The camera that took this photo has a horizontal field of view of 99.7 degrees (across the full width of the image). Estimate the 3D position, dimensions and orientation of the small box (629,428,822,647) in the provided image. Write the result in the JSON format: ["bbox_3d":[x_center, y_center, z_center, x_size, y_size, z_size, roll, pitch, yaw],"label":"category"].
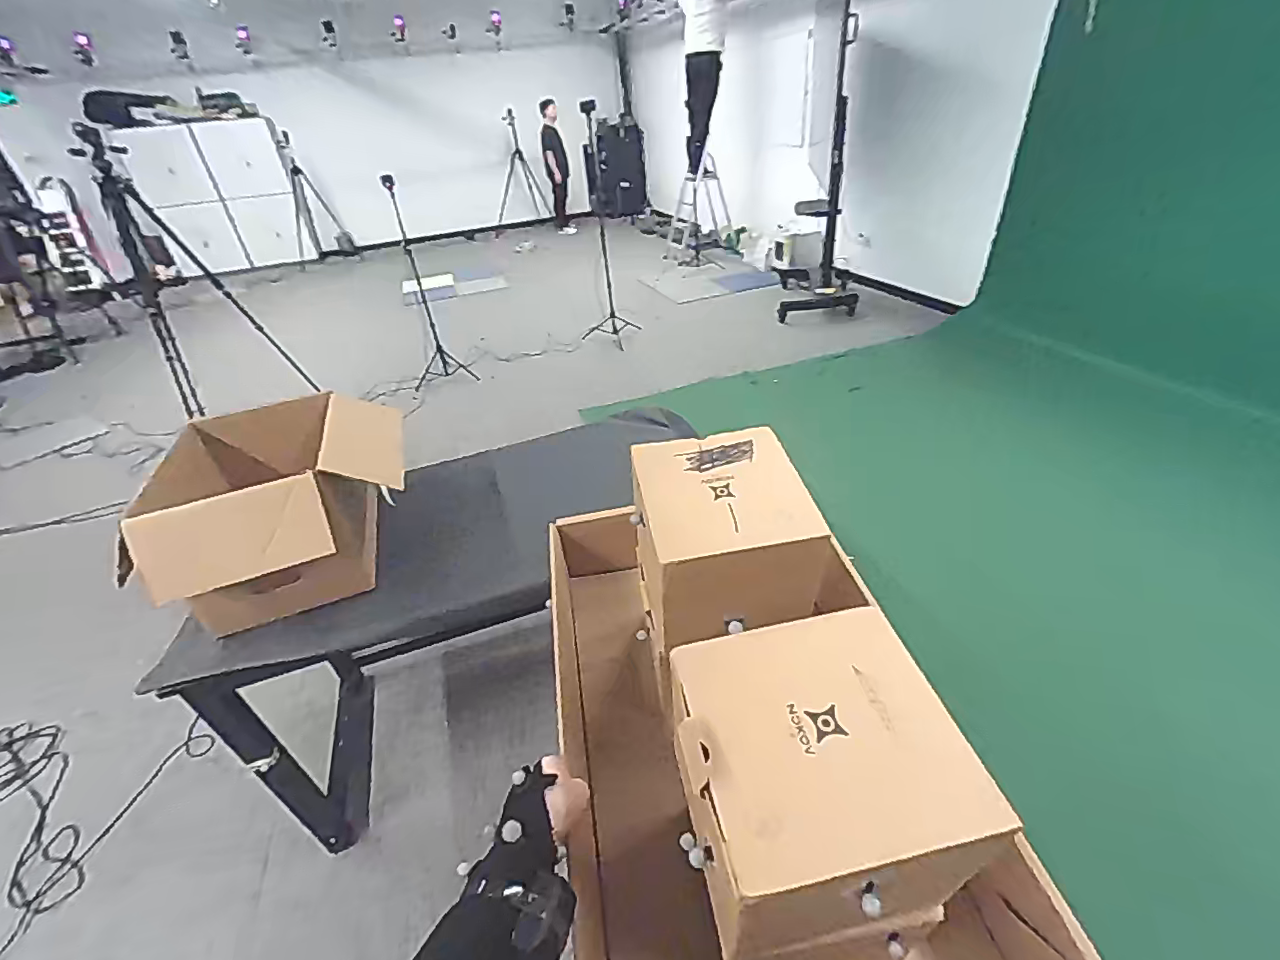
[{"bbox_3d":[0.082,0.066,0.615,0.168,0.176,0.179,-9,43,-5],"label":"small box"}]

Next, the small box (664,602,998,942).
[{"bbox_3d":[0.124,0.227,0.426,0.179,0.176,0.168,-10,40,-7],"label":"small box"}]
